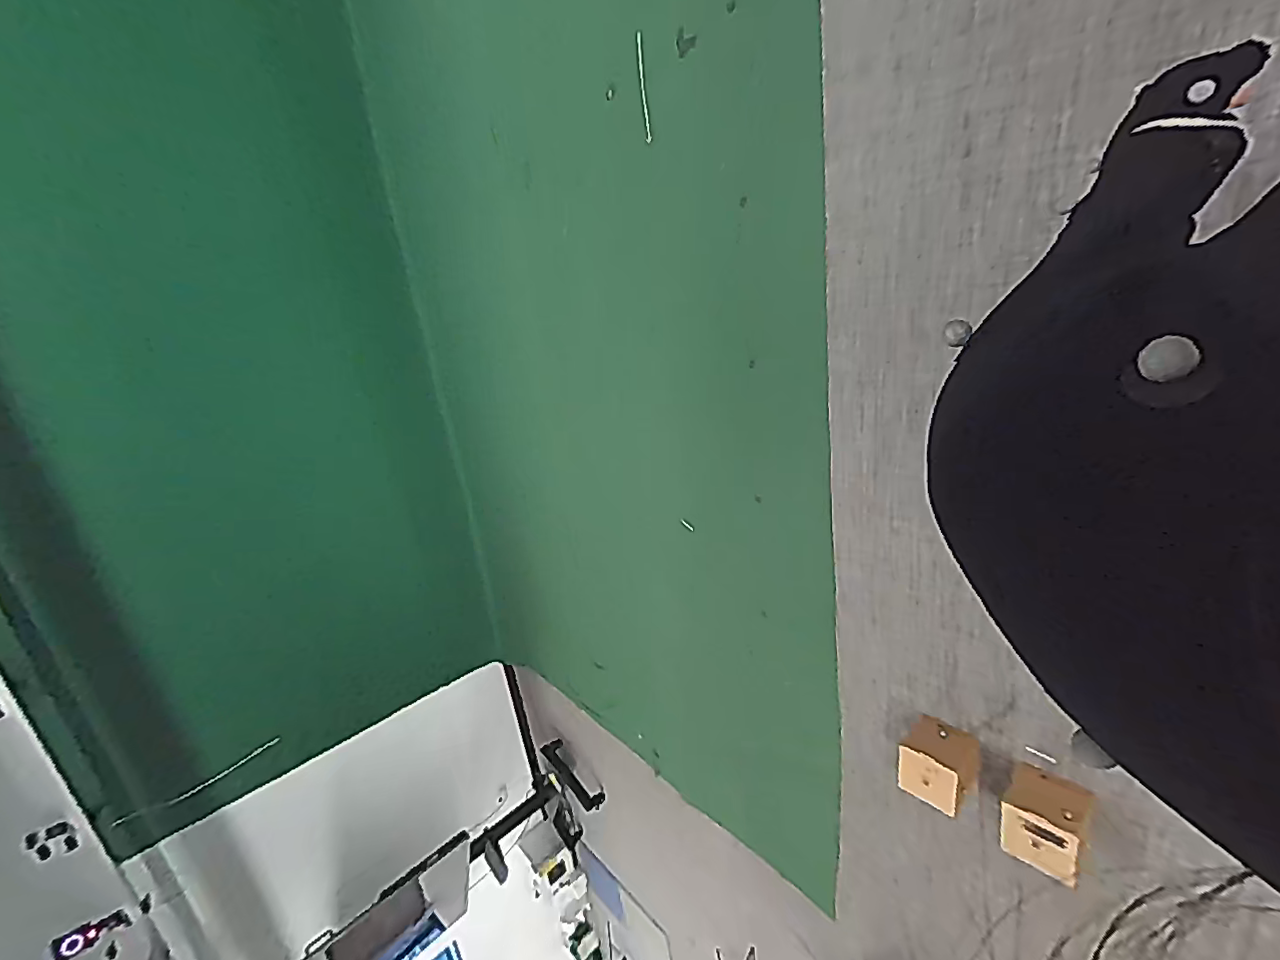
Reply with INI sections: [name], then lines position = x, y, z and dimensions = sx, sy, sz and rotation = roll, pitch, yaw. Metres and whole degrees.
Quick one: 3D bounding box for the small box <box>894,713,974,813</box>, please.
[small box]
position = 0.906, 0.864, 1.667
dimensions = 0.168, 0.176, 0.179
rotation = 15, 117, 47
